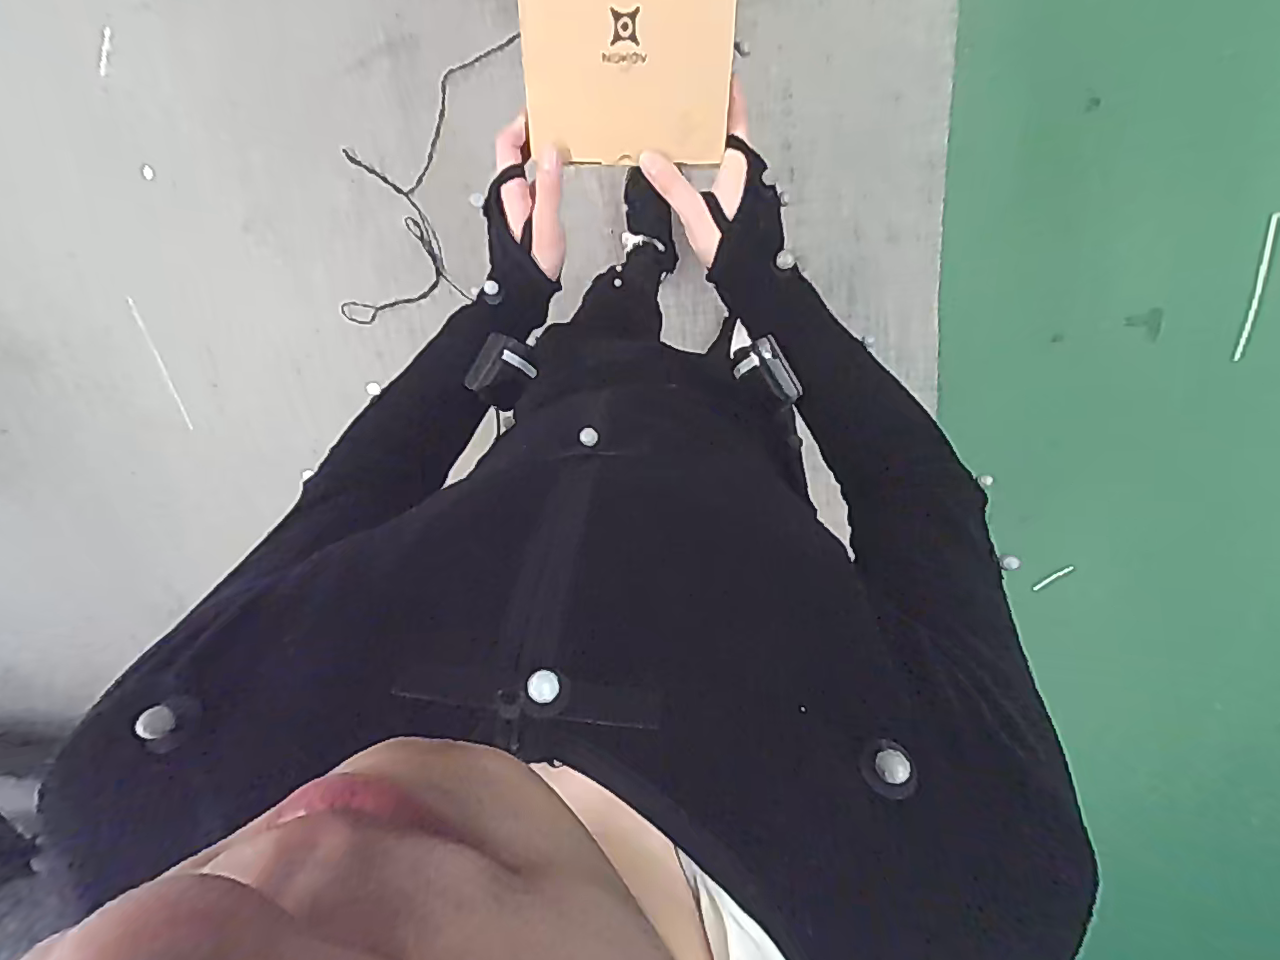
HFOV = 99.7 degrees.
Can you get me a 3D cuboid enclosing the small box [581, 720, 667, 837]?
[{"bbox_3d":[-0.032,0.705,1.291,0.168,0.176,0.179,1,113,13],"label":"small box"}]
